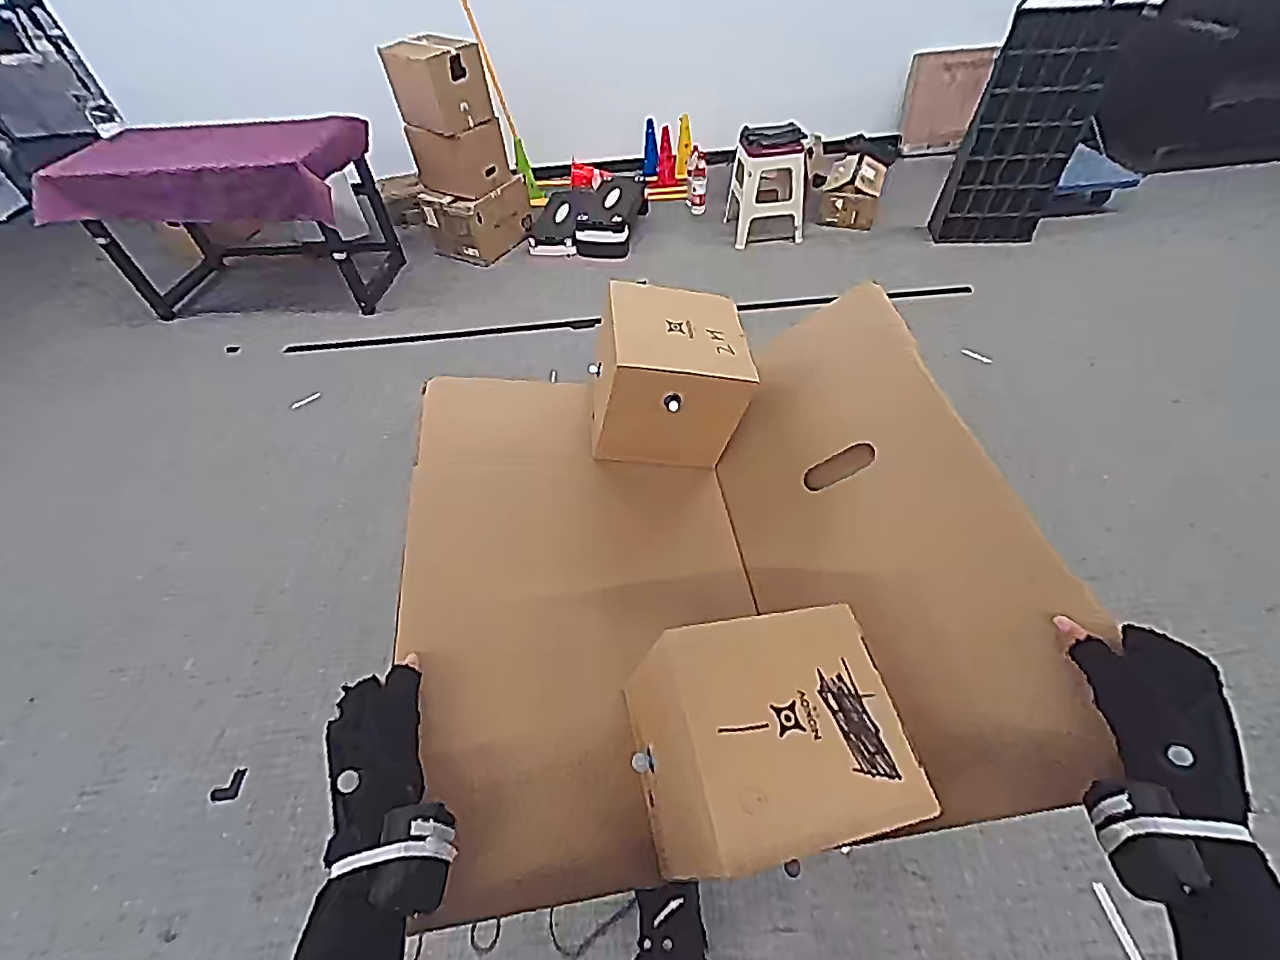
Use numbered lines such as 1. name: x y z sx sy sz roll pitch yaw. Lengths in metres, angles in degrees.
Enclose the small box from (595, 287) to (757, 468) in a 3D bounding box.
1. small box: 0.034 -0.131 0.734 0.179 0.176 0.168 5 52 -13
